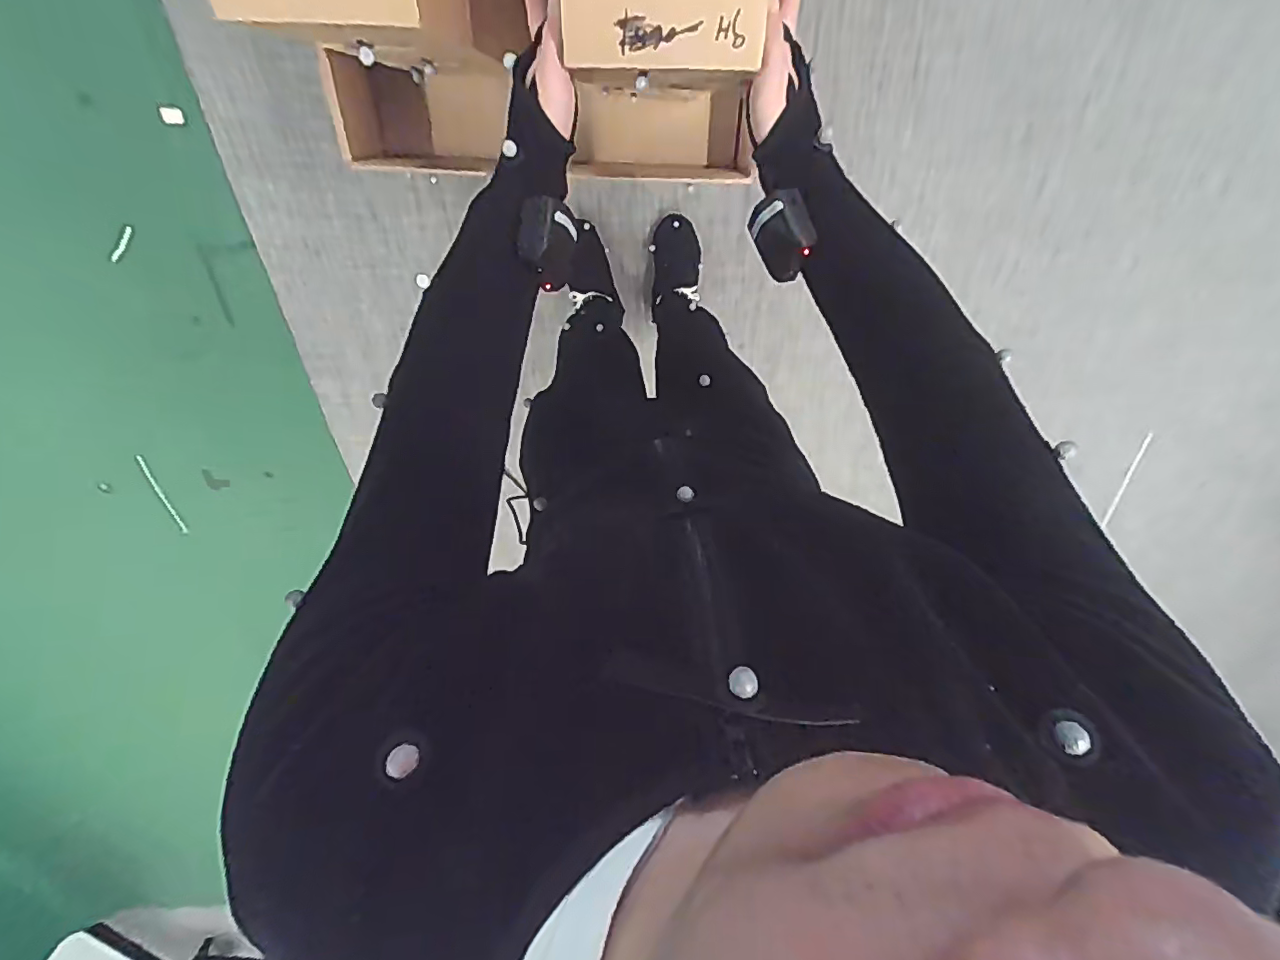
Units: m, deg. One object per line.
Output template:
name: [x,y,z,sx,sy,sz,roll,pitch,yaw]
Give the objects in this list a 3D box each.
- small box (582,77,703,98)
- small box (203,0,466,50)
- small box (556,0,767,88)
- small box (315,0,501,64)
small box: [0.008,-0.636,0.736,0.168,0.176,0.179,3,124,-1]
small box: [-0.255,-0.481,0.445,0.168,0.176,0.179,3,123,0]
small box: [0.015,-0.451,0.457,0.168,0.176,0.179,0,121,-2]
small box: [-0.256,-0.570,0.581,0.168,0.176,0.179,2,123,0]
